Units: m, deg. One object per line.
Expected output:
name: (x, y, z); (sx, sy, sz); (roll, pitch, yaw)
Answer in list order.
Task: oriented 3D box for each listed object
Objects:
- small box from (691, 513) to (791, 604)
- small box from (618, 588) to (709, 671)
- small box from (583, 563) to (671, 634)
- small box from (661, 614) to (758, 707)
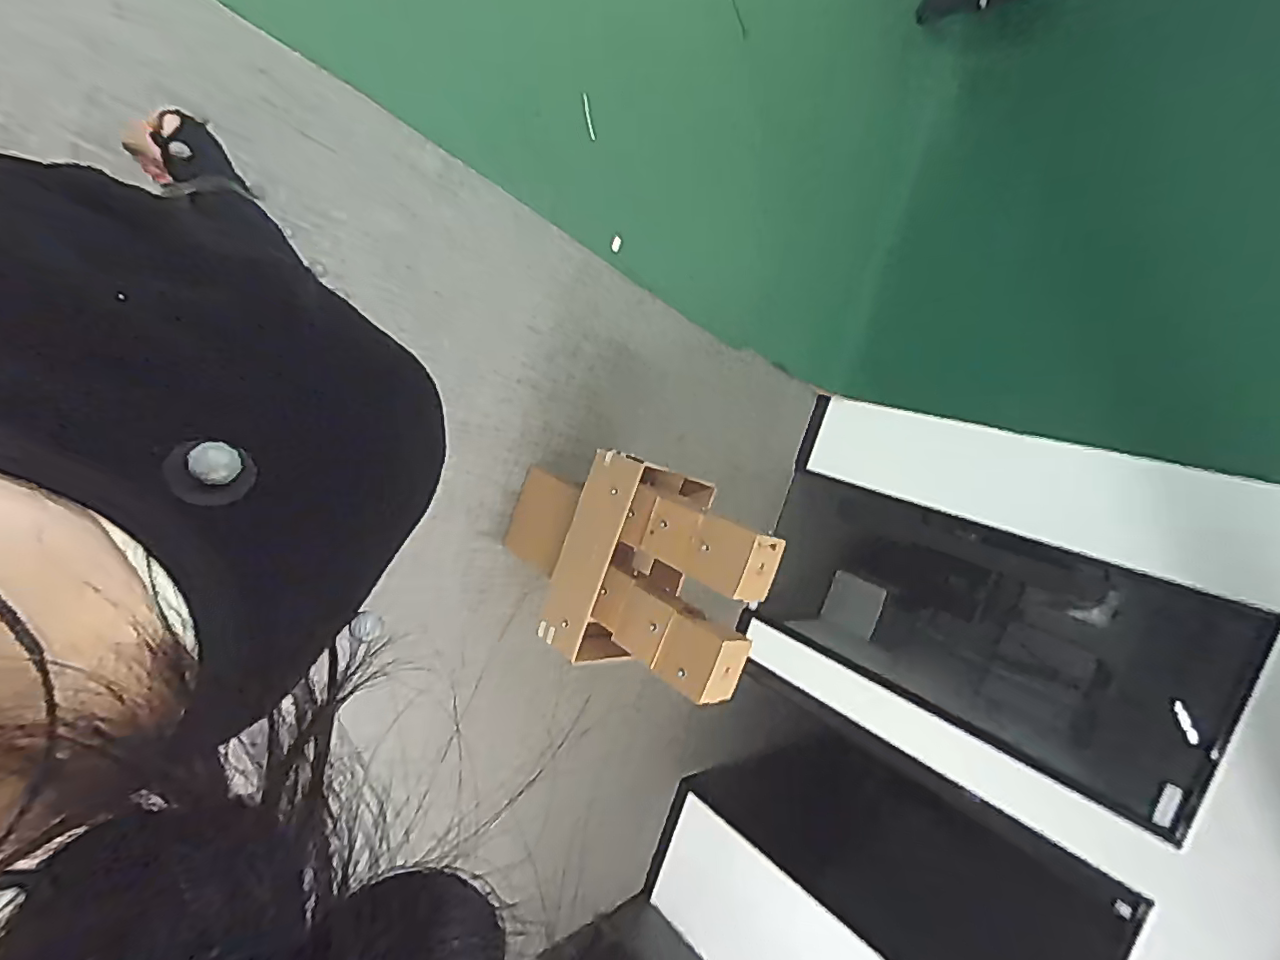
small box: (0.258, 0.206, 1.413); (0.168, 0.176, 0.179); (18, 94, -49)
small box: (0.063, 0.426, 1.550); (0.168, 0.176, 0.179); (21, 91, -48)
small box: (-0.044, 0.366, 1.660); (0.179, 0.176, 0.168); (24, 89, -49)
small box: (0.179, 0.480, 1.449); (0.168, 0.176, 0.179); (21, 91, -49)
